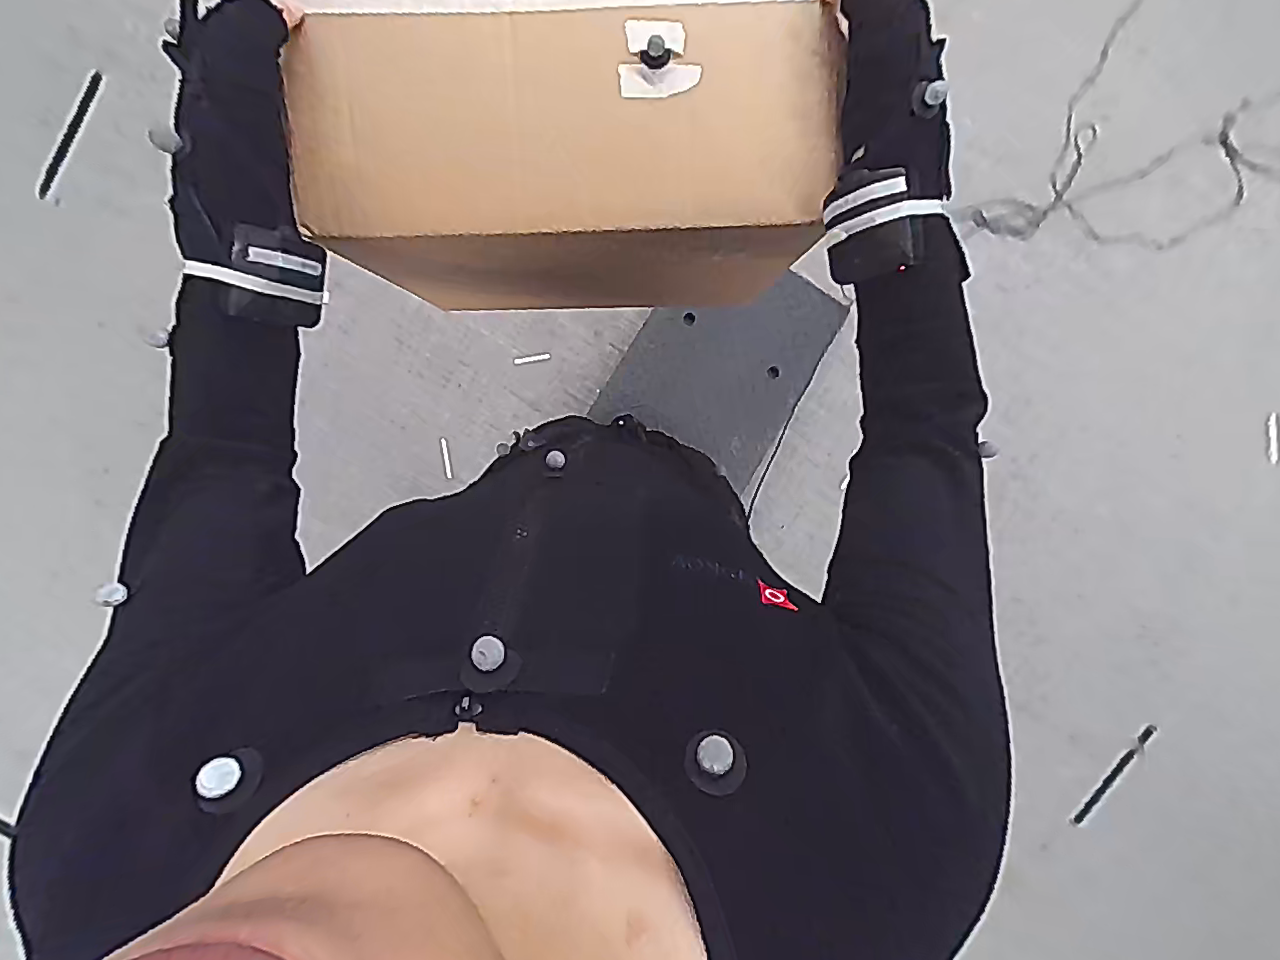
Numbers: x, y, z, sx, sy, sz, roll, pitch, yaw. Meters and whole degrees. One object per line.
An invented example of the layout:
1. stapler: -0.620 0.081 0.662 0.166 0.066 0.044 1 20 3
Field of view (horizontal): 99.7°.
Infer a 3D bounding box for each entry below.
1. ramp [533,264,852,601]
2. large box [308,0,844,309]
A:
1. ramp: 0.163 -0.209 1.533 0.509 0.206 0.991 30 95 -1
2. large box: -0.050 -0.366 0.547 0.408 0.320 0.320 -1 98 -1
